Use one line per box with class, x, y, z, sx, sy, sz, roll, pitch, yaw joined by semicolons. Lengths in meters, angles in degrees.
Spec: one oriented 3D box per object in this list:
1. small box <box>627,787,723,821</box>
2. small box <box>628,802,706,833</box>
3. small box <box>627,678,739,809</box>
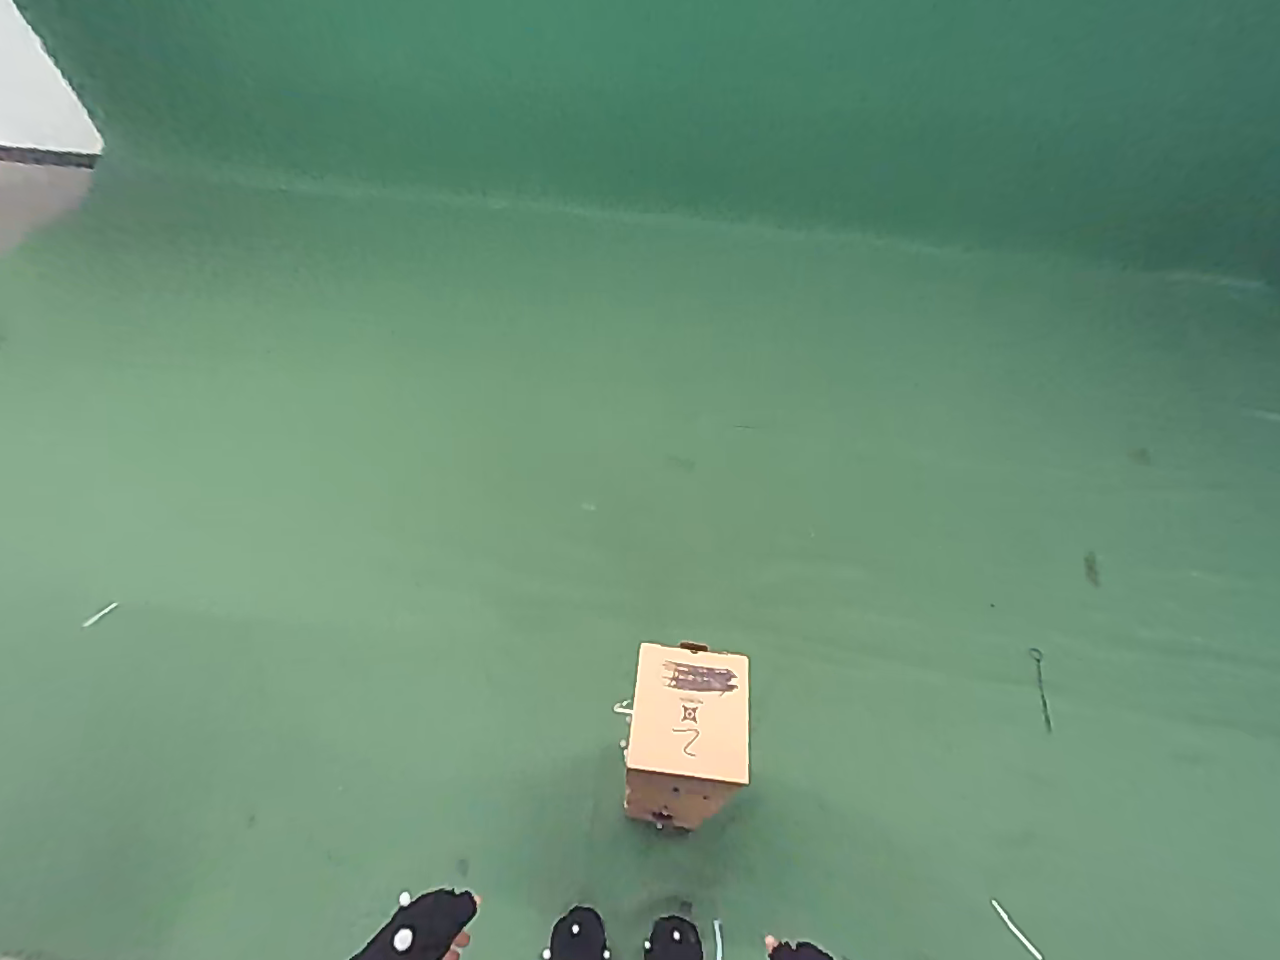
small box;0.075;0.571;1.089;0.179;0.176;0.168;10;51;6
small box;0.066;0.674;1.220;0.168;0.176;0.179;7;53;5
small box;0.074;0.473;0.963;0.179;0.176;0.168;7;53;3
